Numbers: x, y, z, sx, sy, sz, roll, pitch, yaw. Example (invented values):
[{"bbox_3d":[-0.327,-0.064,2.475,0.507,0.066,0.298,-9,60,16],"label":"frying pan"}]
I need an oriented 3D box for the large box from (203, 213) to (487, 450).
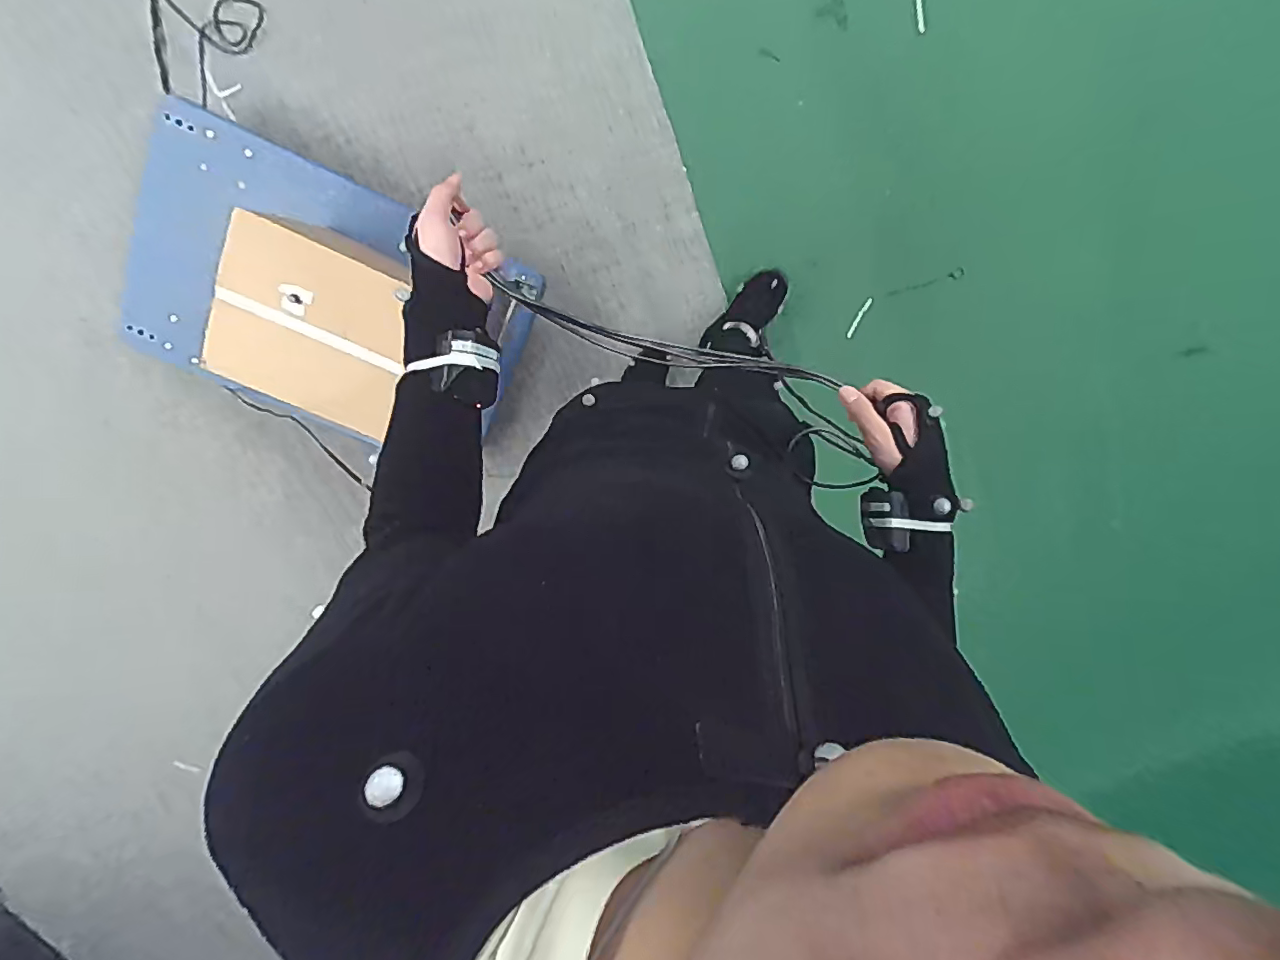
[{"bbox_3d":[-0.597,-0.311,1.163,0.408,0.320,0.320,24,105,-9],"label":"large box"}]
